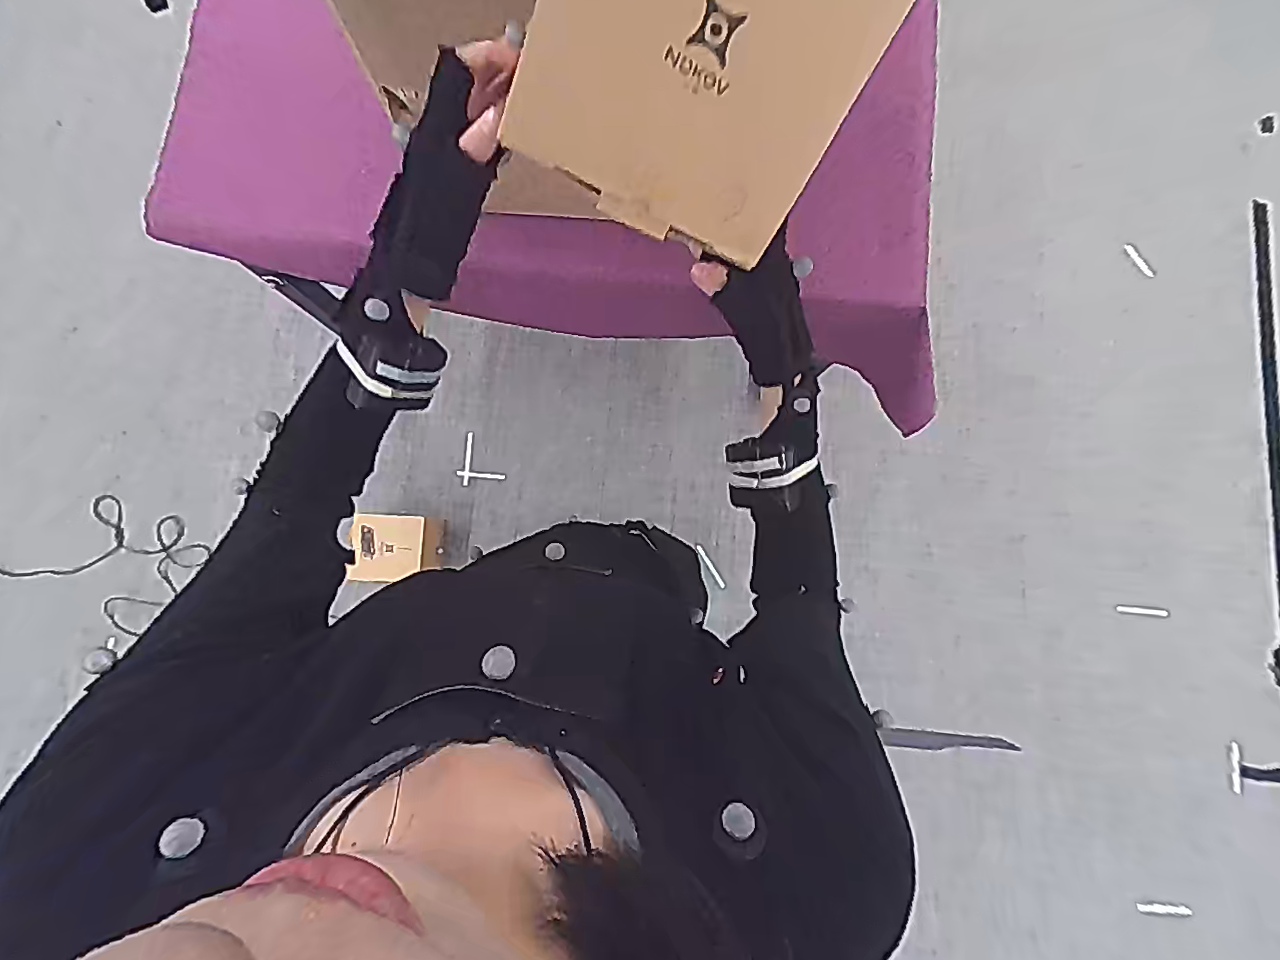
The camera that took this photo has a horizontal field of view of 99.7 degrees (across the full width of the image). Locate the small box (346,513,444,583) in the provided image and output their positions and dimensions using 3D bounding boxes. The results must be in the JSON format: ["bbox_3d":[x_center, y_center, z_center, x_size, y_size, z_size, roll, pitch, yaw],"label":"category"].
[{"bbox_3d":[-0.630,0.178,1.408,0.179,0.176,0.168,3,83,-3],"label":"small box"}]

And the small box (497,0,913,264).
[{"bbox_3d":[0.028,-0.267,0.322,0.168,0.176,0.179,17,124,-20],"label":"small box"}]
